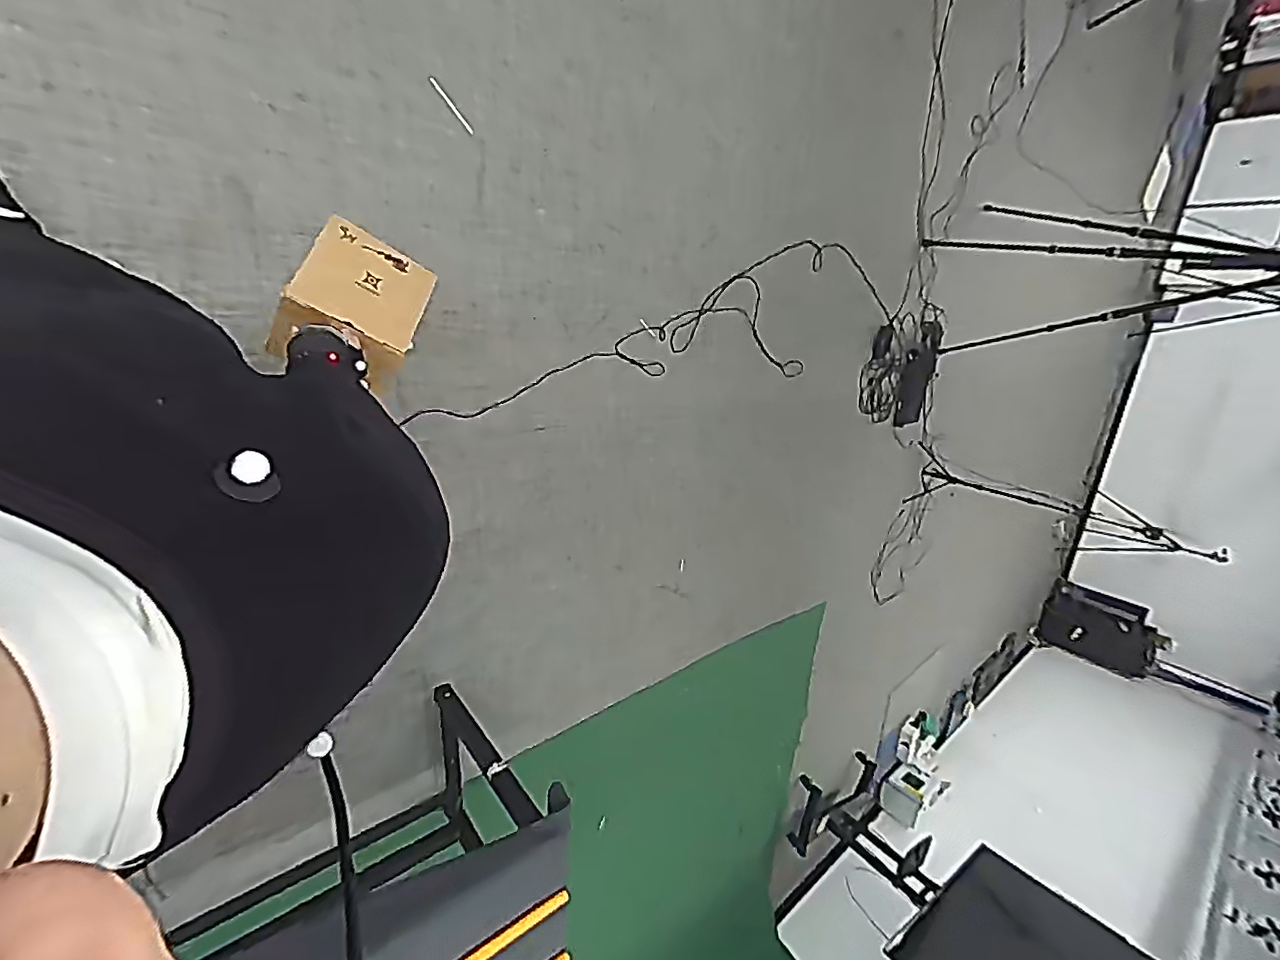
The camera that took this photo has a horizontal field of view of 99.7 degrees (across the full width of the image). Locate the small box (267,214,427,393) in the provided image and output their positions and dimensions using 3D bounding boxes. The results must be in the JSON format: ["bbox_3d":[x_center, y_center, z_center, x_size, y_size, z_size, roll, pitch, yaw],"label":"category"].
[{"bbox_3d":[-0.468,-0.268,0.862,0.168,0.176,0.179,24,56,-31],"label":"small box"}]
